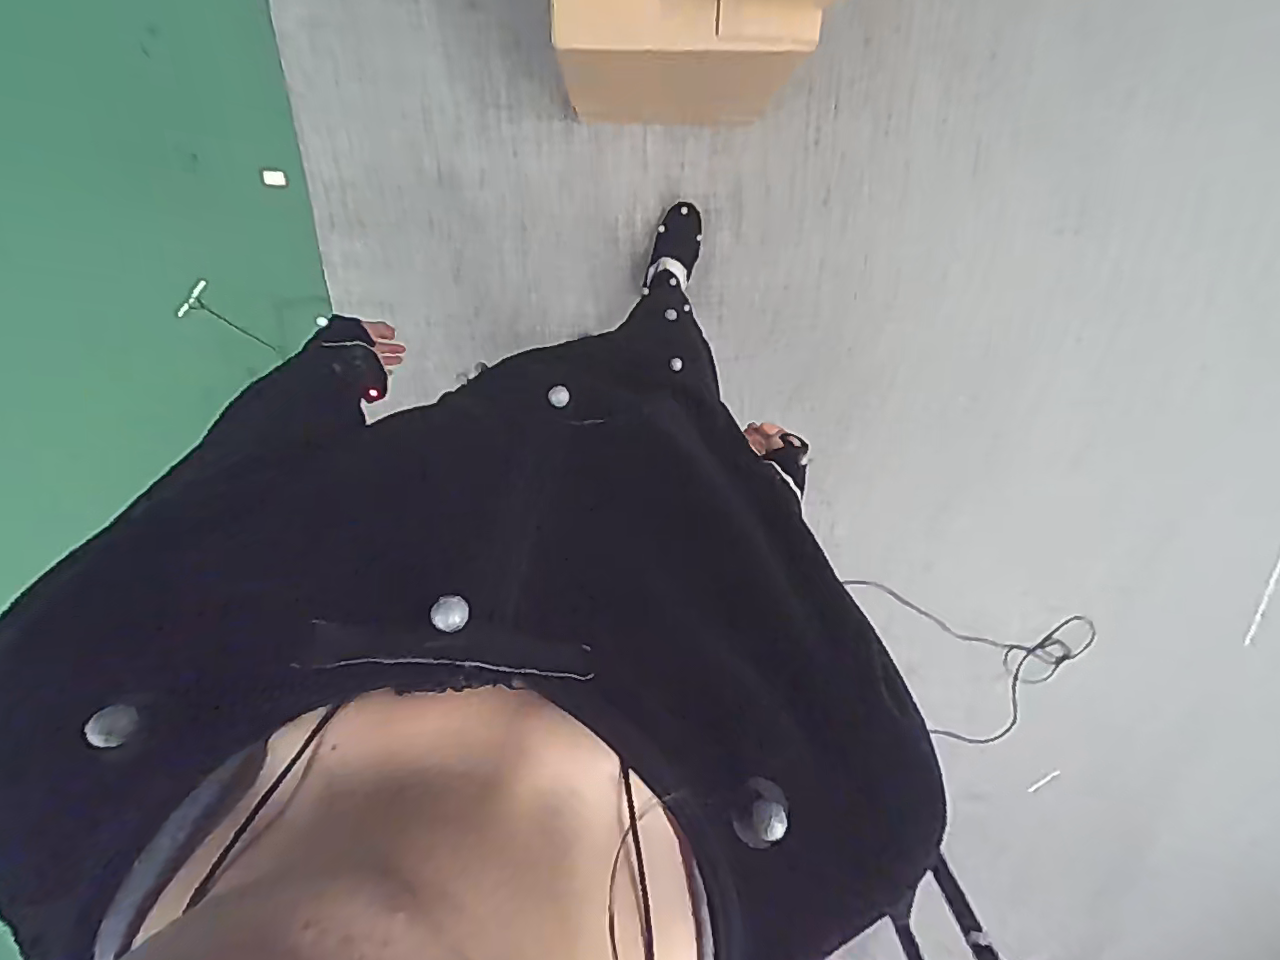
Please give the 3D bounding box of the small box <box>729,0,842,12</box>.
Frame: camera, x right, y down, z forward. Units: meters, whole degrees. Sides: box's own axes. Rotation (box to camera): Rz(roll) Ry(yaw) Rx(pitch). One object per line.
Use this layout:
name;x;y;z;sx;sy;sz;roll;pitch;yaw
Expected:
small box;0.215;-0.743;0.699;0.179;0.176;0.168;2;113;-2
